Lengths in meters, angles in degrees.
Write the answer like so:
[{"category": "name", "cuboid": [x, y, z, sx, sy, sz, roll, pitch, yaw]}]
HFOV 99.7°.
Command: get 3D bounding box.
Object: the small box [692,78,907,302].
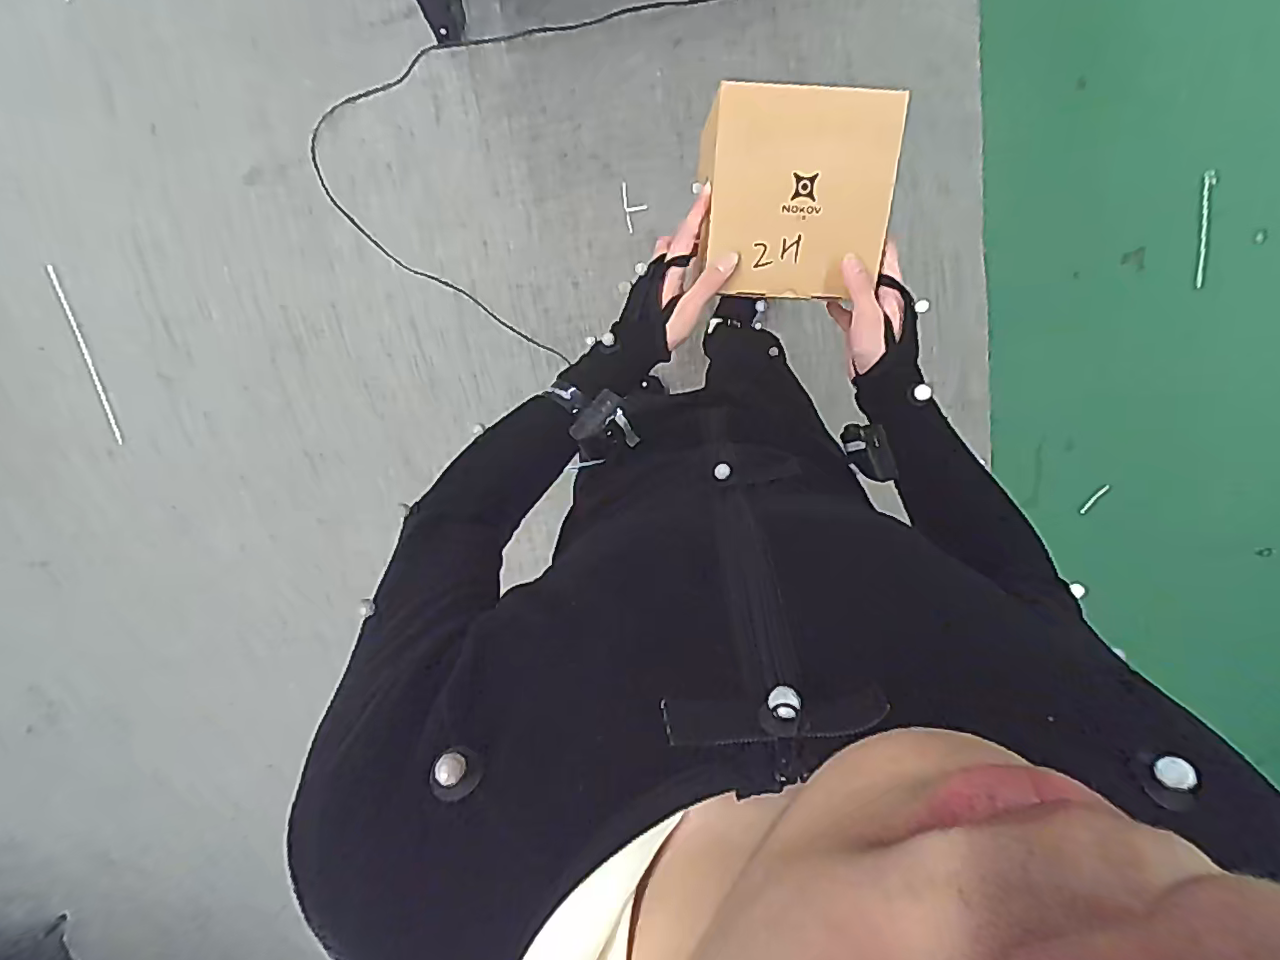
[{"category": "small box", "cuboid": [0.147, -0.284, 0.569, 0.168, 0.176, 0.179, 3, 109, 0]}]
